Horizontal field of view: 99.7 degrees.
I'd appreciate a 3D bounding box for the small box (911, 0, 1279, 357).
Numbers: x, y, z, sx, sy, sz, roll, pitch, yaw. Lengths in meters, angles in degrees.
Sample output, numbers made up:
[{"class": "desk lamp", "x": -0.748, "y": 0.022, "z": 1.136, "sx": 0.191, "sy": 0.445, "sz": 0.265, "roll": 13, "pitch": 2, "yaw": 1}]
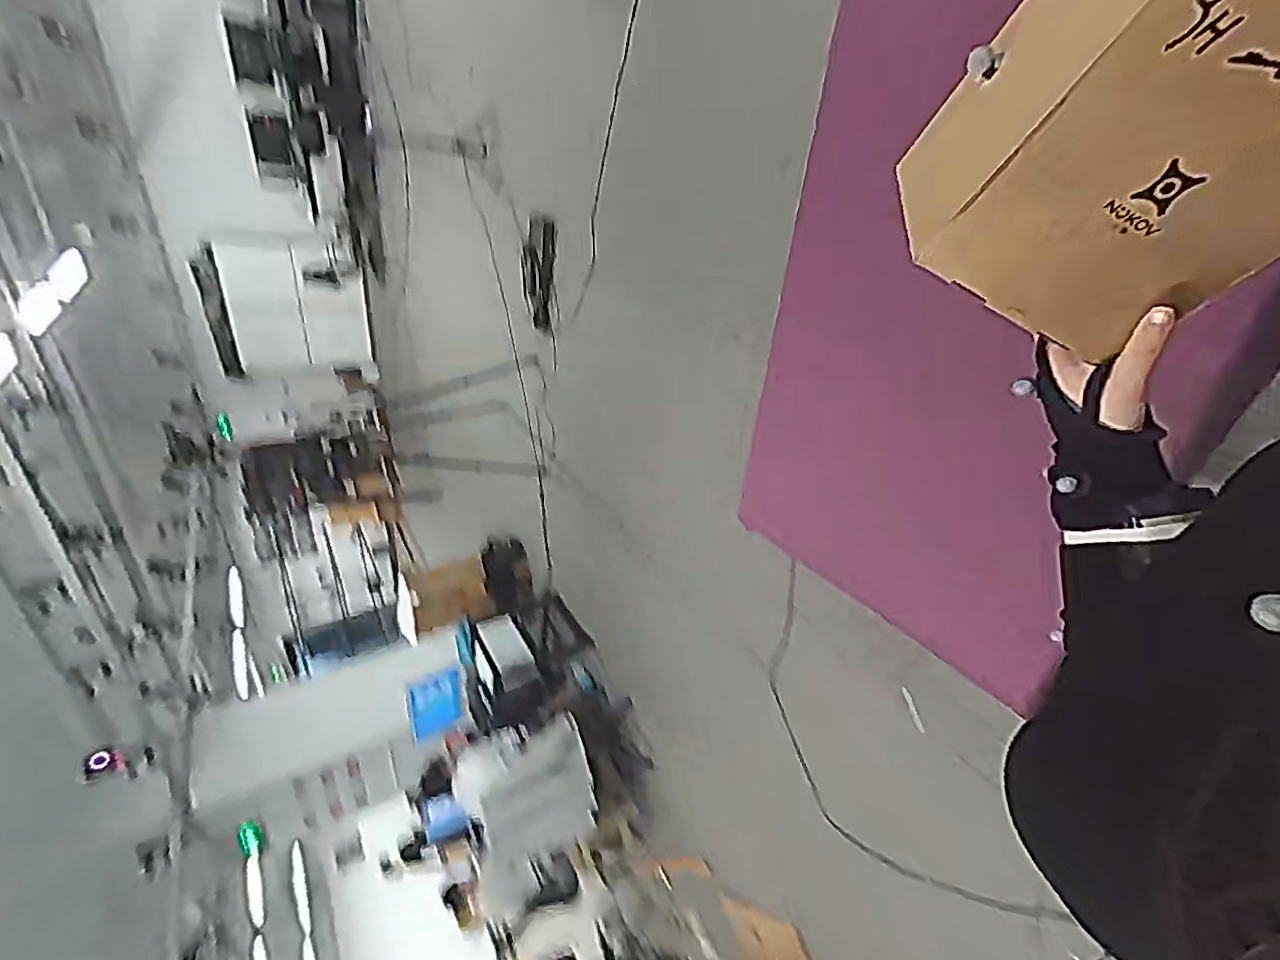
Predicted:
[{"class": "small box", "x": 0.306, "y": -0.224, "z": 0.354, "sx": 0.179, "sy": 0.168, "sz": 0.176, "roll": -52, "pitch": 16, "yaw": 50}]
